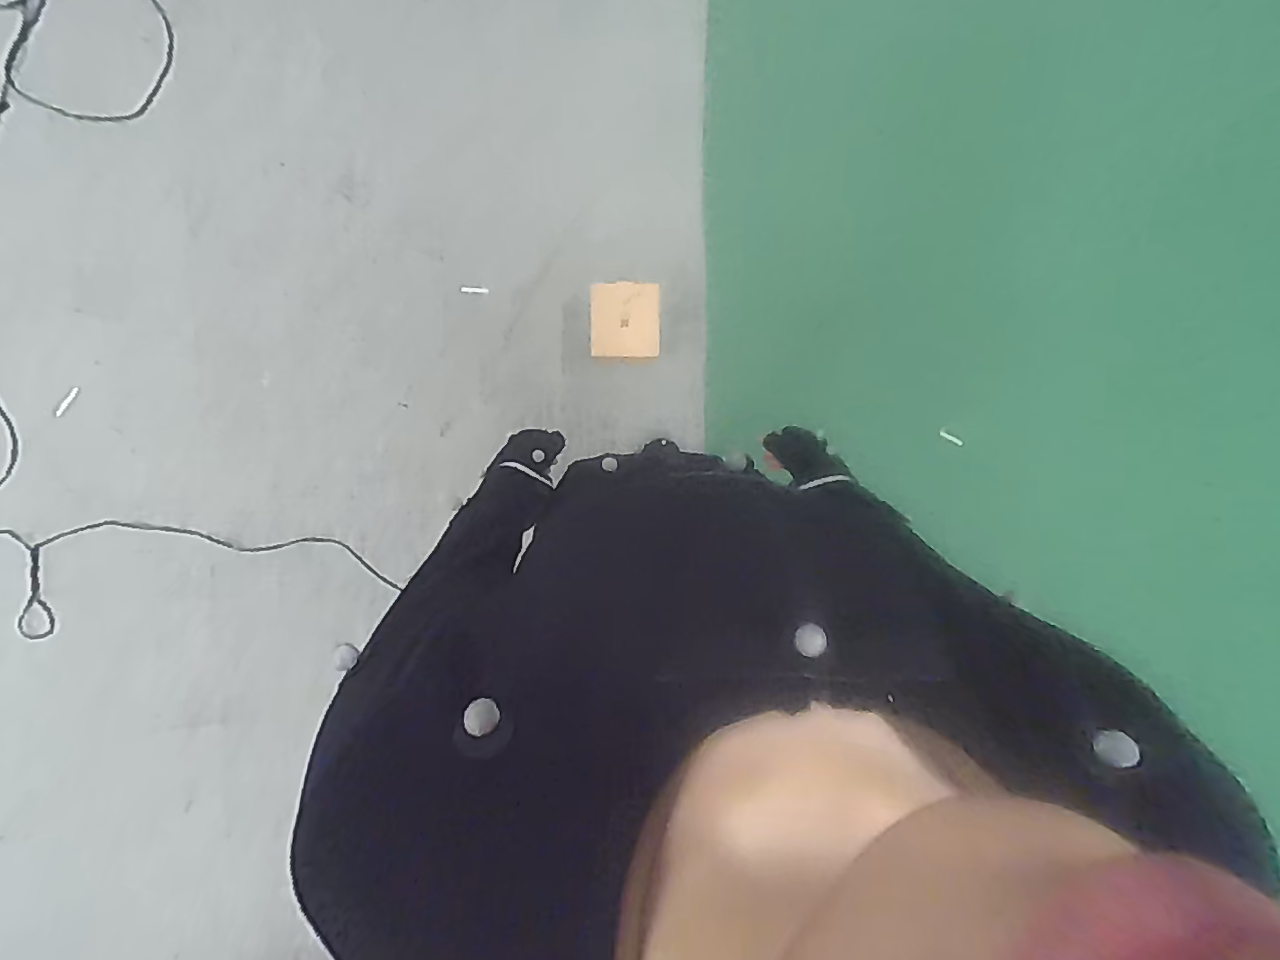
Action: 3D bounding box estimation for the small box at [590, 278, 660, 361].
[{"bbox_3d":[-0.038,-0.394,1.357,0.168,0.176,0.179,0,95,-3],"label":"small box"}]
